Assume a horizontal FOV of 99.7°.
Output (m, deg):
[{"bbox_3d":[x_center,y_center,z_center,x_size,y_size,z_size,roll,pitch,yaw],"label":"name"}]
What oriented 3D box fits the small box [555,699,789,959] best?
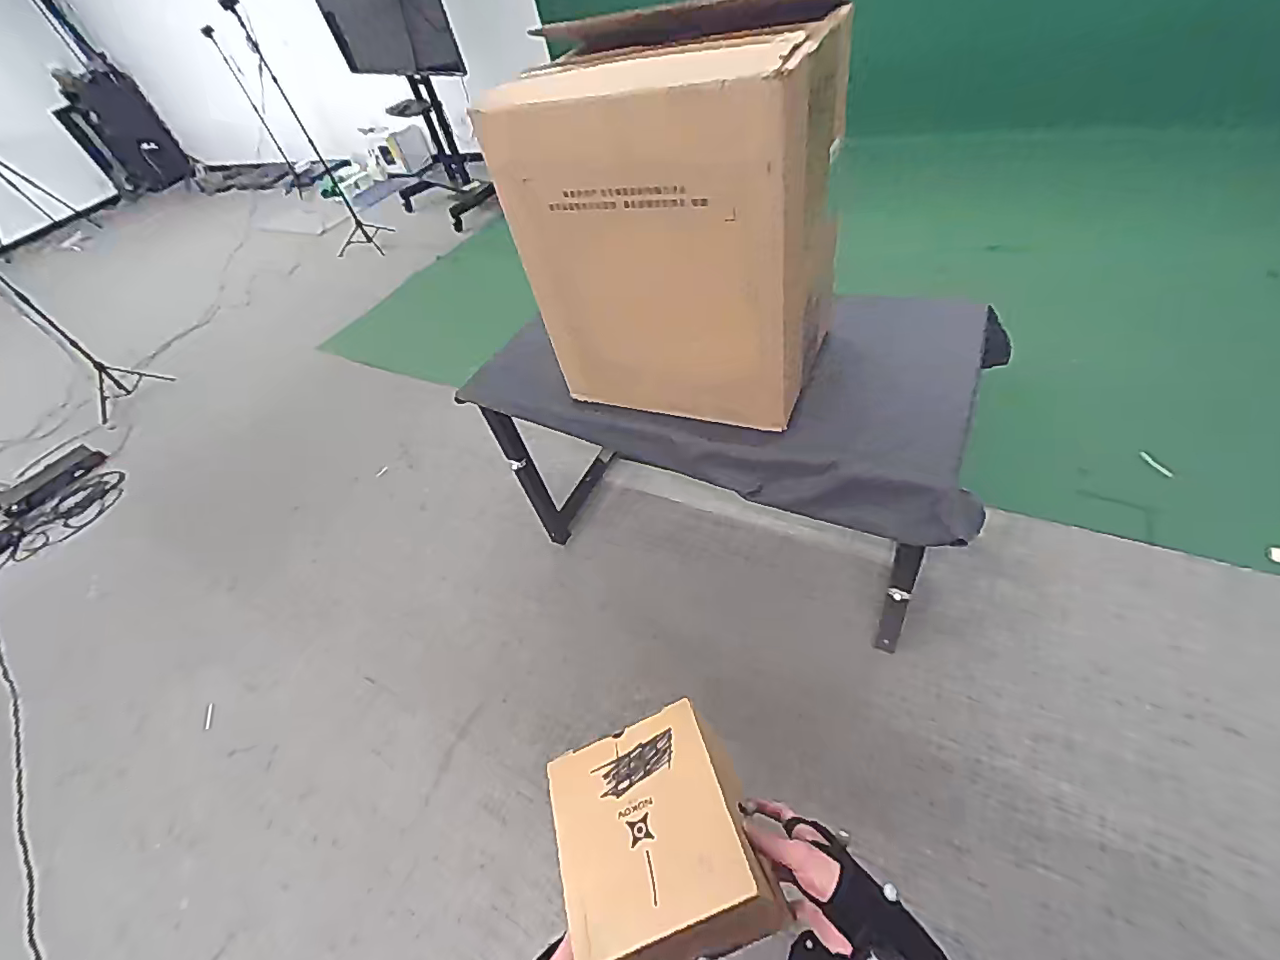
[{"bbox_3d":[0.032,0.366,0.551,0.168,0.176,0.179,-26,41,2],"label":"small box"}]
